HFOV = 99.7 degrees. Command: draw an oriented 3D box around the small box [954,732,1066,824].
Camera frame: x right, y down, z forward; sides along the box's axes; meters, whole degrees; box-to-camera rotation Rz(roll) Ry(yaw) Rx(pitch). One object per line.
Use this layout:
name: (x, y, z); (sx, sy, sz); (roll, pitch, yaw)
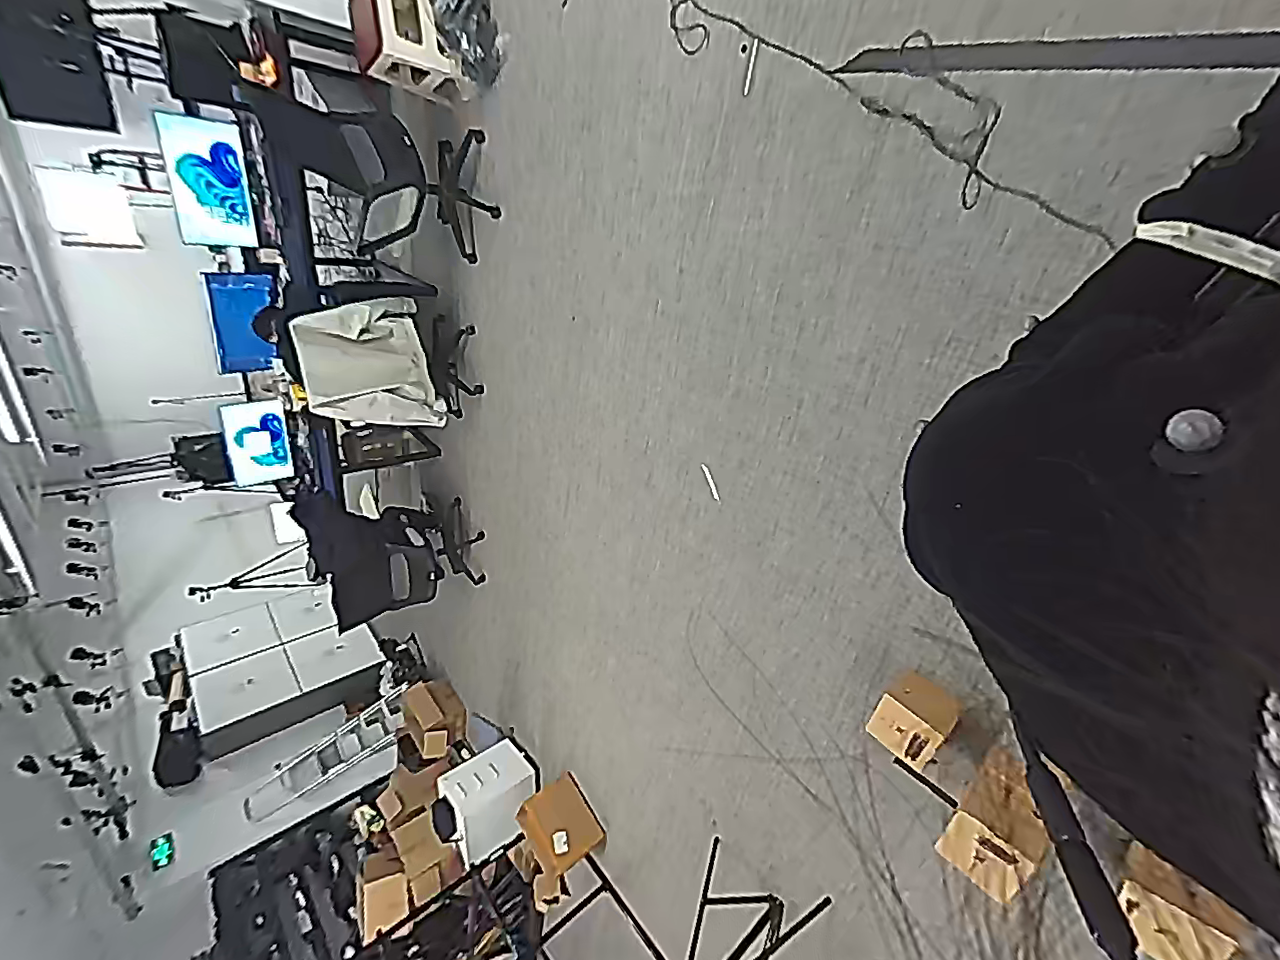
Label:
small box: (0.968, 0.805, 1.410); (0.168, 0.176, 0.179); (36, 127, 36)

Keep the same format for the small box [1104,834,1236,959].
small box: (1.187, 0.953, 1.213); (0.179, 0.176, 0.168); (19, 116, 43)

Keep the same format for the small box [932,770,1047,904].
small box: (0.848, 0.851, 1.307); (0.168, 0.176, 0.179); (33, 126, 38)
